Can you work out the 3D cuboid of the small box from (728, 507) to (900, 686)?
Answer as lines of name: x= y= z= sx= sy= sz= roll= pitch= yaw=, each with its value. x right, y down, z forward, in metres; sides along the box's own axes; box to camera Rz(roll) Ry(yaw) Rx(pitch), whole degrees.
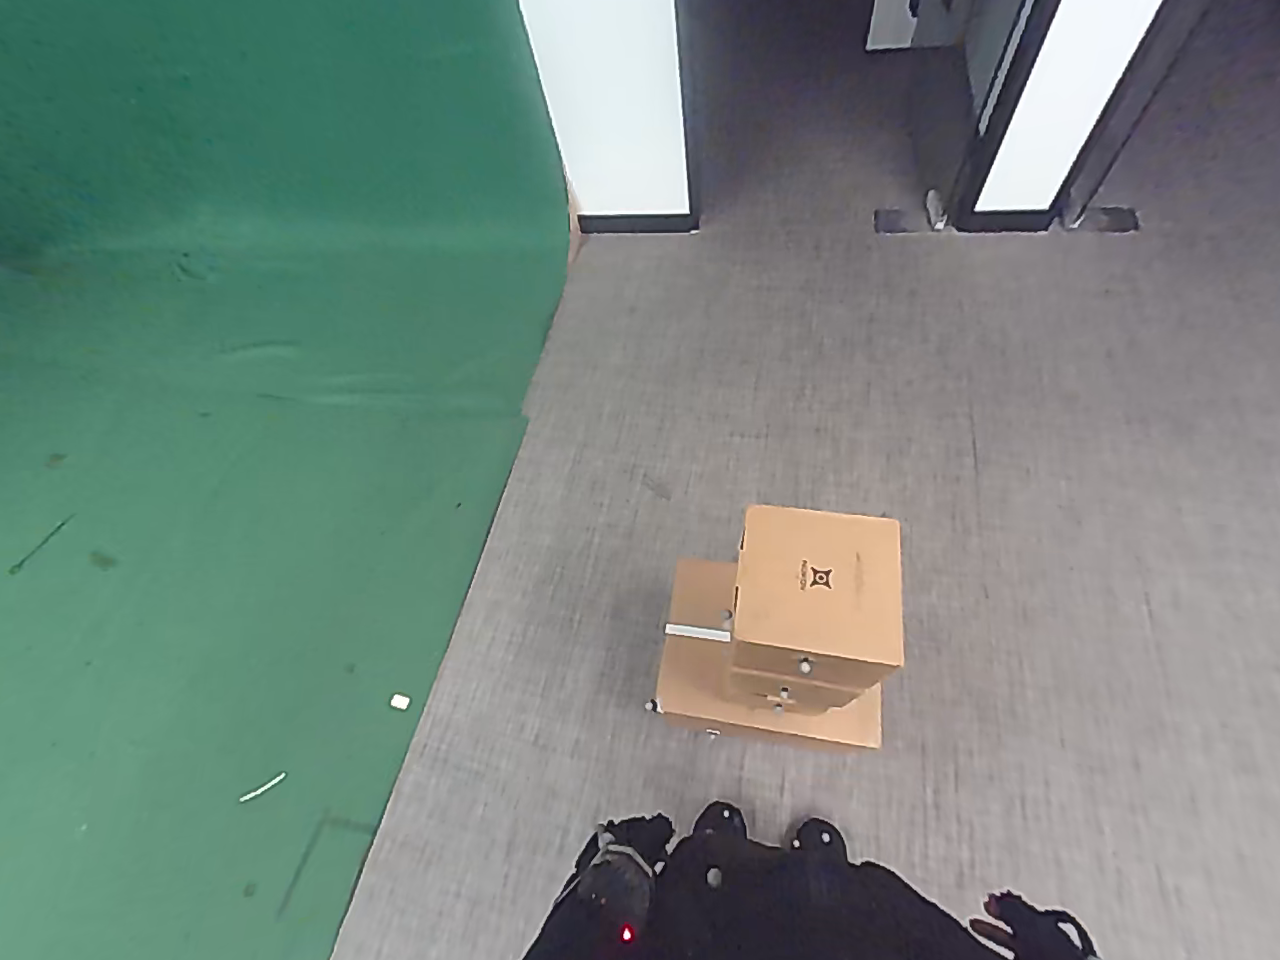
small box: x=0.206 y=0.149 z=0.670 sx=0.179 sy=0.176 sz=0.168 roll=6 pitch=63 yaw=12

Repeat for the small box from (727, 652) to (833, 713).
small box: x=0.246 y=0.305 z=0.954 sx=0.168 sy=0.176 sz=0.179 roll=3 pitch=63 yaw=12

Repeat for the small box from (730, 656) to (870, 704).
small box: x=0.229 y=0.233 z=0.808 sx=0.179 sy=0.176 sz=0.168 roll=3 pitch=62 yaw=10
